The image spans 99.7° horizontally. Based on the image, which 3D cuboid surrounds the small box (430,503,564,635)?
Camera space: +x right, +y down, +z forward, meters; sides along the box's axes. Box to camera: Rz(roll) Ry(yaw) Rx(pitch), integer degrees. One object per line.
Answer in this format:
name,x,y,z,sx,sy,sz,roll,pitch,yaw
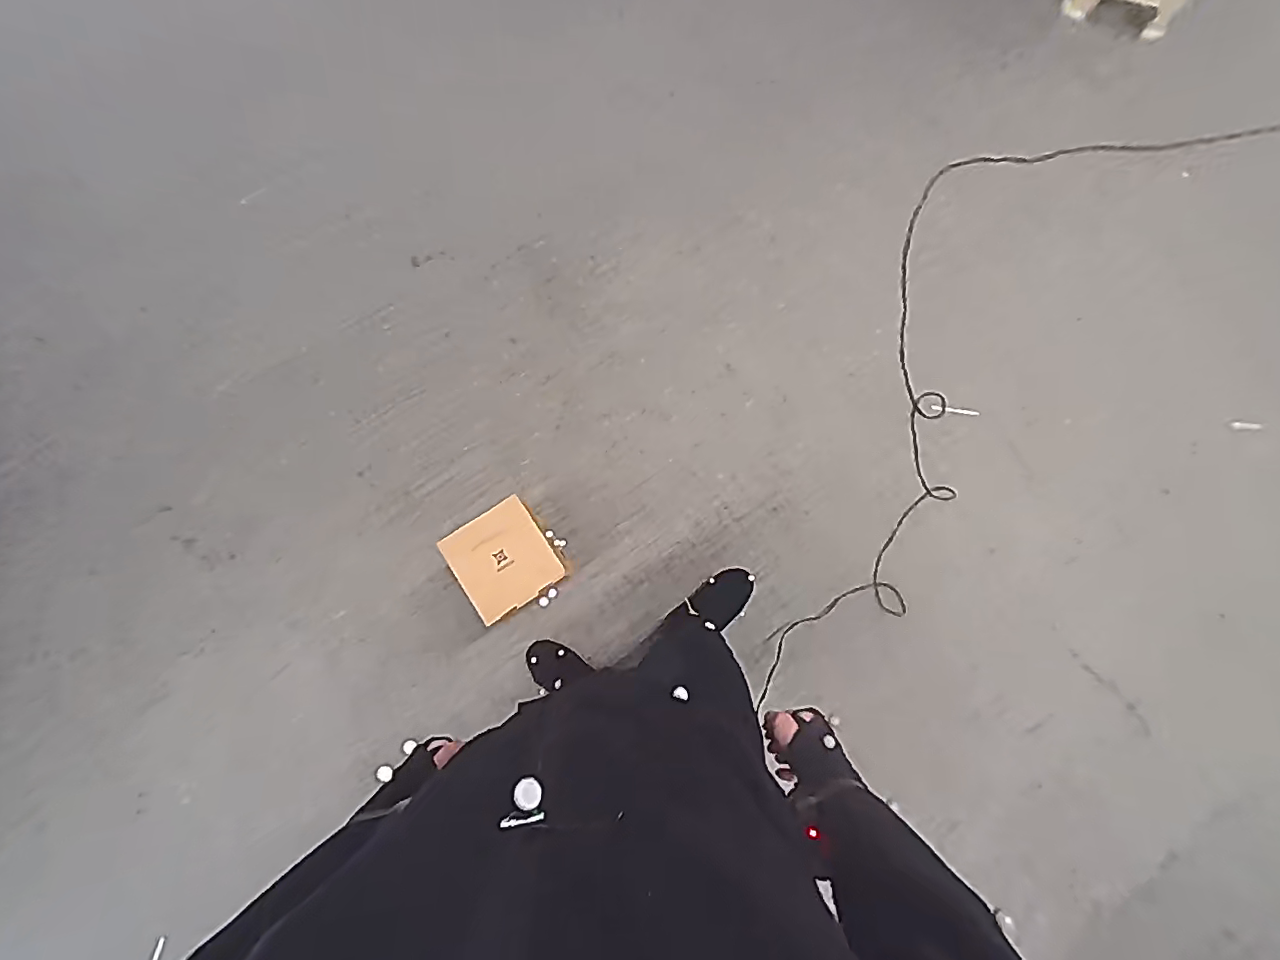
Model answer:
small box,-0.256,0.166,1.018,0.168,0.176,0.179,-33,82,-10
